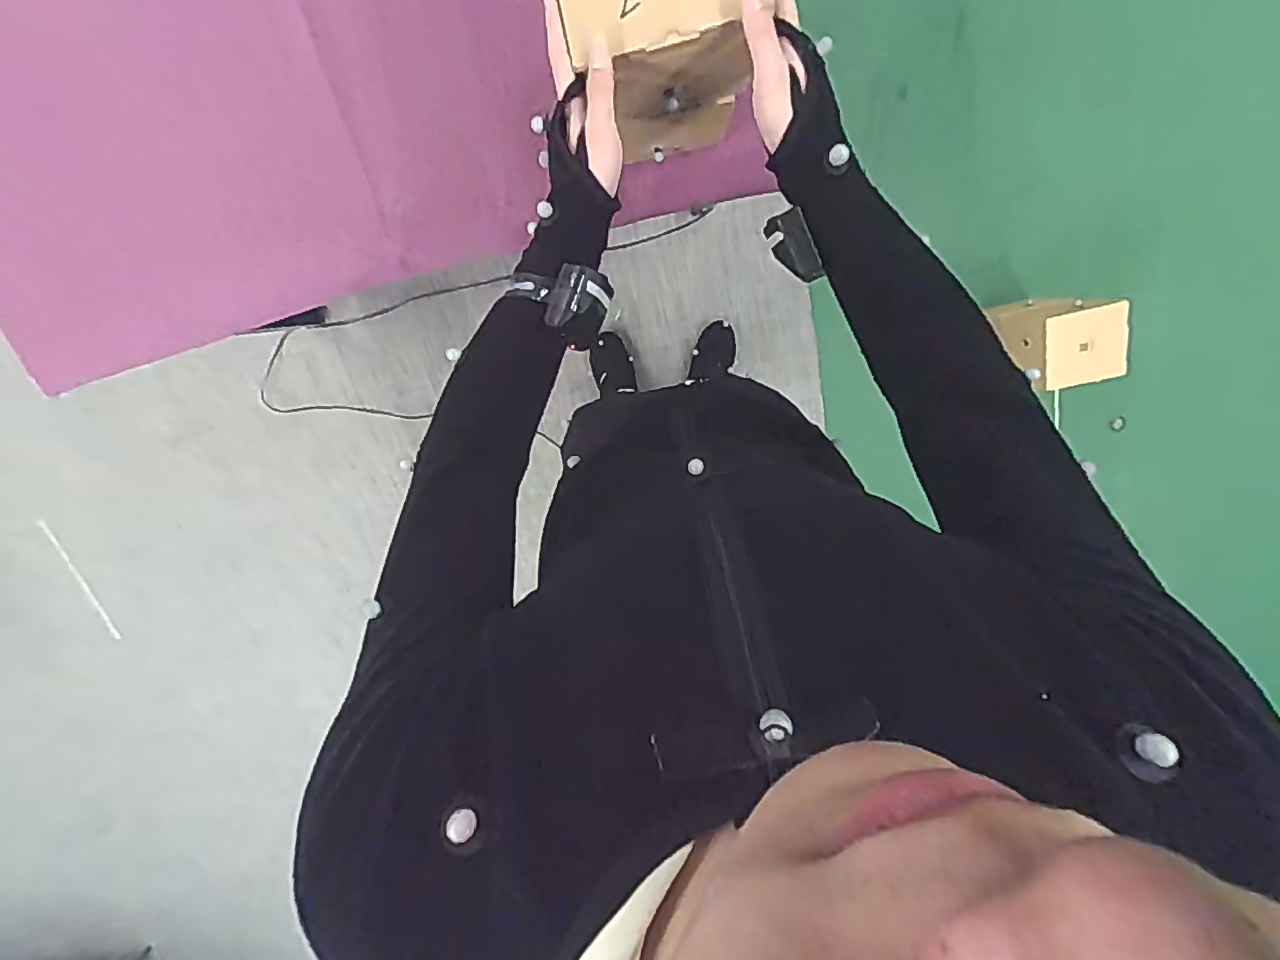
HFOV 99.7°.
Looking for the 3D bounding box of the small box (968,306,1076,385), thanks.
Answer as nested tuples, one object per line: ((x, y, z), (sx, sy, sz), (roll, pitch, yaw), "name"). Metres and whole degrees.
((0.999, -0.359, 1.423), (0.179, 0.176, 0.168), (-12, 107, 7), "small box")

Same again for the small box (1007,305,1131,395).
((0.995, -0.306, 1.271), (0.179, 0.176, 0.168), (-13, 107, 5), "small box")

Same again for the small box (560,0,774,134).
((0.013, -0.448, 0.483), (0.168, 0.176, 0.179), (-11, 106, 7), "small box")
